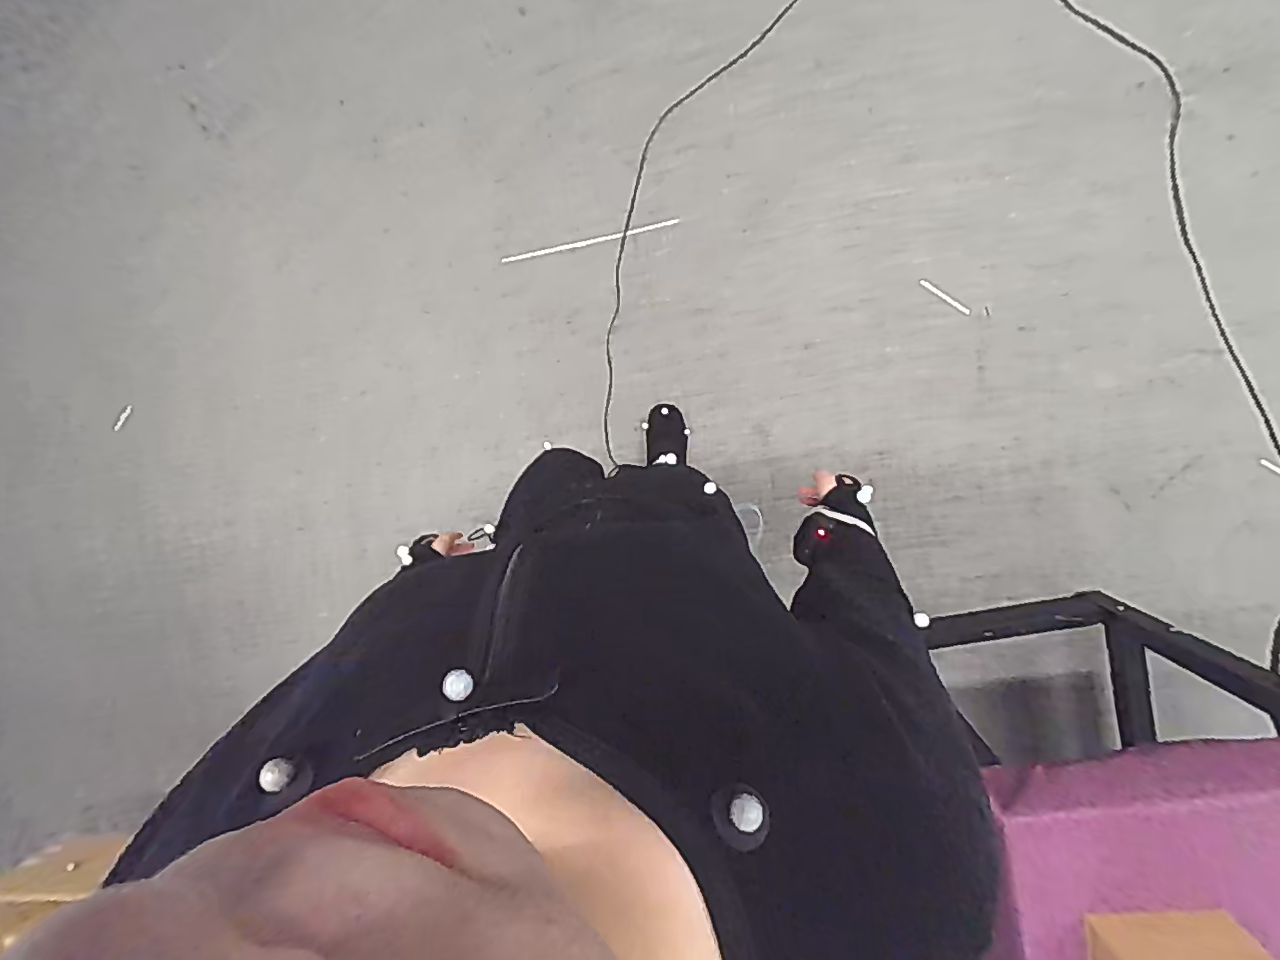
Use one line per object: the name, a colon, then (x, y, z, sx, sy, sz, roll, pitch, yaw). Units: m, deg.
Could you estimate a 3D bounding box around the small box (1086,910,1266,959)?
small box: (0.699, 0.681, 0.674, 0.179, 0.176, 0.168, -9, 97, 8)
